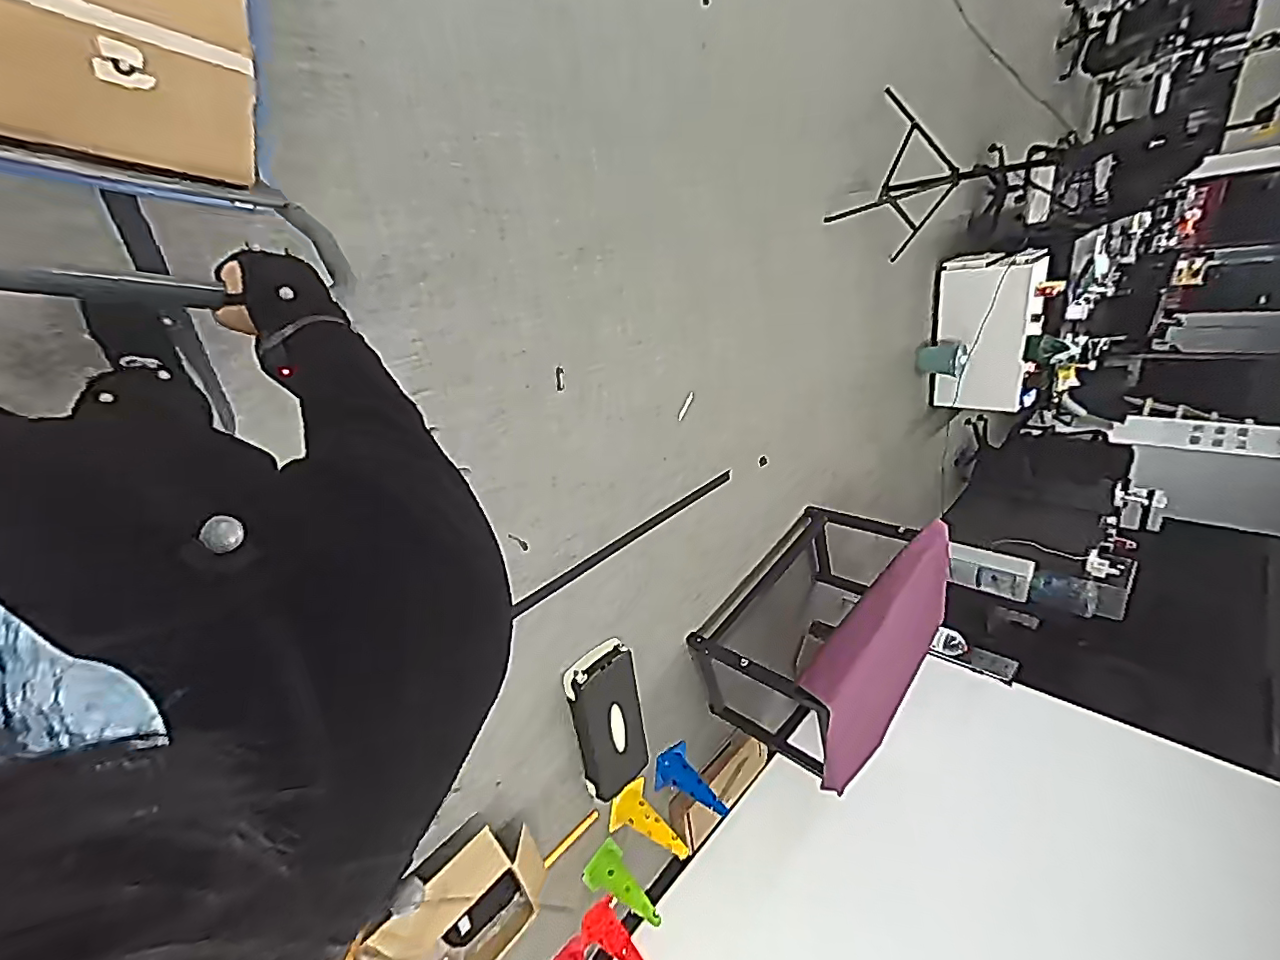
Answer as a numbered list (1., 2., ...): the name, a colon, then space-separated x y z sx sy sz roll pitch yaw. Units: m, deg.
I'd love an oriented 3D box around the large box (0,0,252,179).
1. large box: -0.804 -0.636 0.723 0.408 0.320 0.320 -9 124 -44
